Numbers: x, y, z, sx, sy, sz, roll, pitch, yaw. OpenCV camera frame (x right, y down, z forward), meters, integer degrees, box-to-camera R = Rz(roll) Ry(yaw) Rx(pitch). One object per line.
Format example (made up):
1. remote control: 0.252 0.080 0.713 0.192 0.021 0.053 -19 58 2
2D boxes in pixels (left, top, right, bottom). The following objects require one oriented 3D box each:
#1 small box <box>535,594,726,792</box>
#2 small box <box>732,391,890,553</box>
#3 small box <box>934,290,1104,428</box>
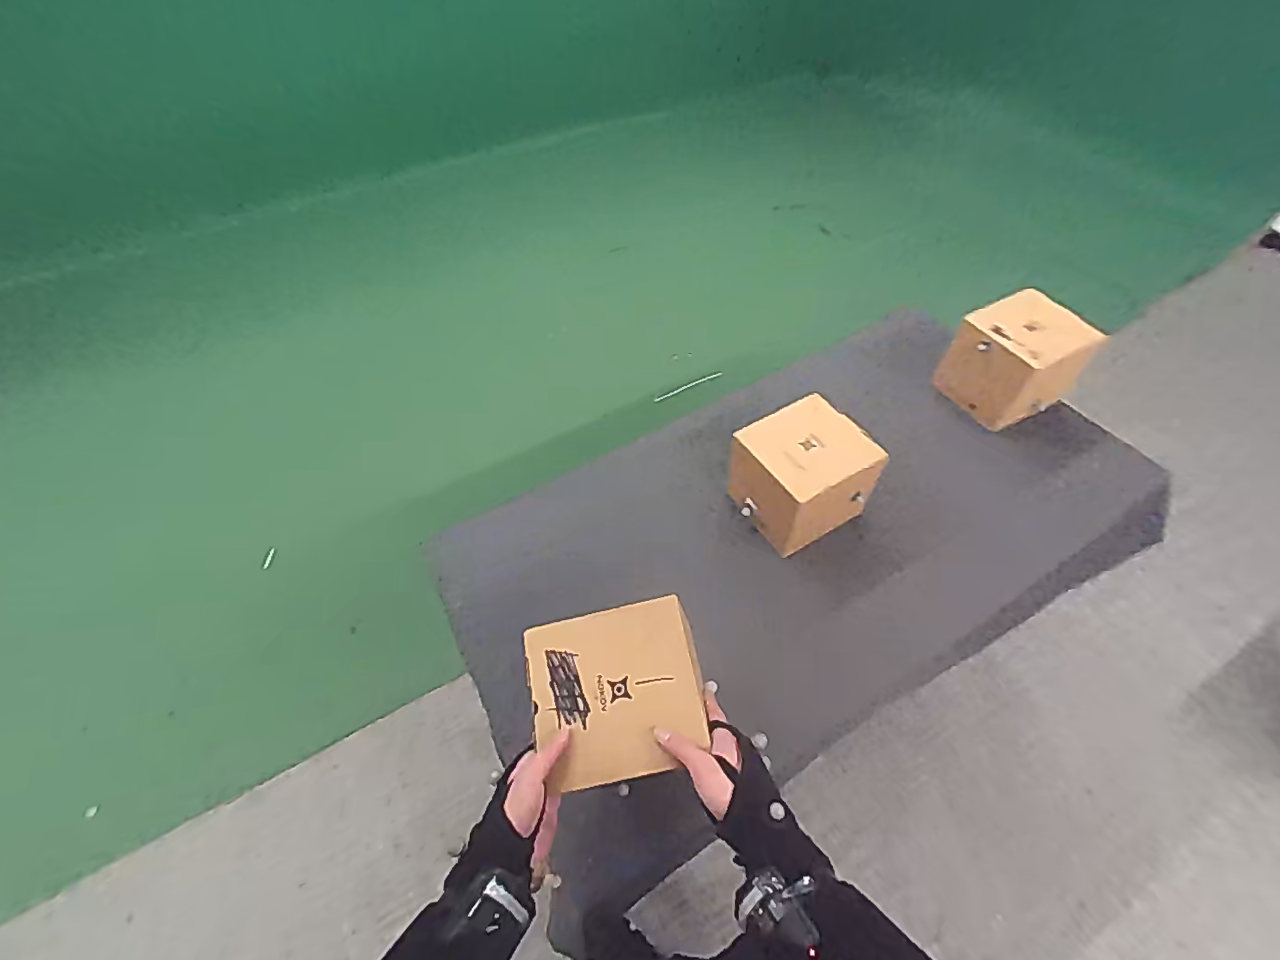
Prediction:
1. small box: -0.005 0.246 0.616 0.179 0.176 0.168 -13 63 3
2. small box: 0.271 -0.011 0.906 0.179 0.176 0.168 -28 57 -16
3. small box: 0.718 -0.231 1.048 0.179 0.176 0.168 -23 57 -14
